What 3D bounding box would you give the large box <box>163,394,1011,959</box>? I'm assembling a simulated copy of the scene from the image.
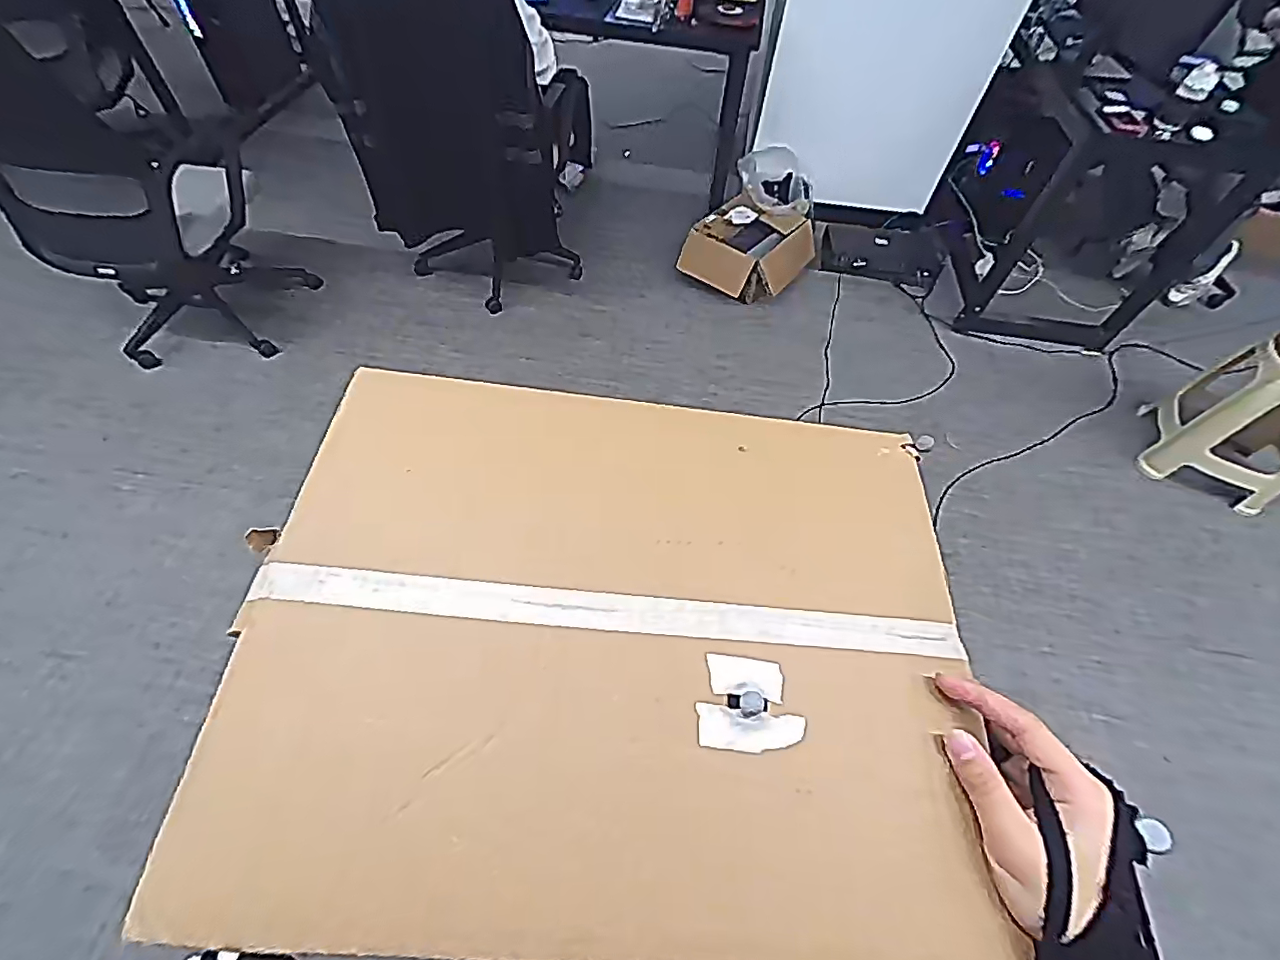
[{"bbox_3d":[-0.025,0.163,0.451,0.408,0.320,0.320,7,60,-5],"label":"large box"}]
